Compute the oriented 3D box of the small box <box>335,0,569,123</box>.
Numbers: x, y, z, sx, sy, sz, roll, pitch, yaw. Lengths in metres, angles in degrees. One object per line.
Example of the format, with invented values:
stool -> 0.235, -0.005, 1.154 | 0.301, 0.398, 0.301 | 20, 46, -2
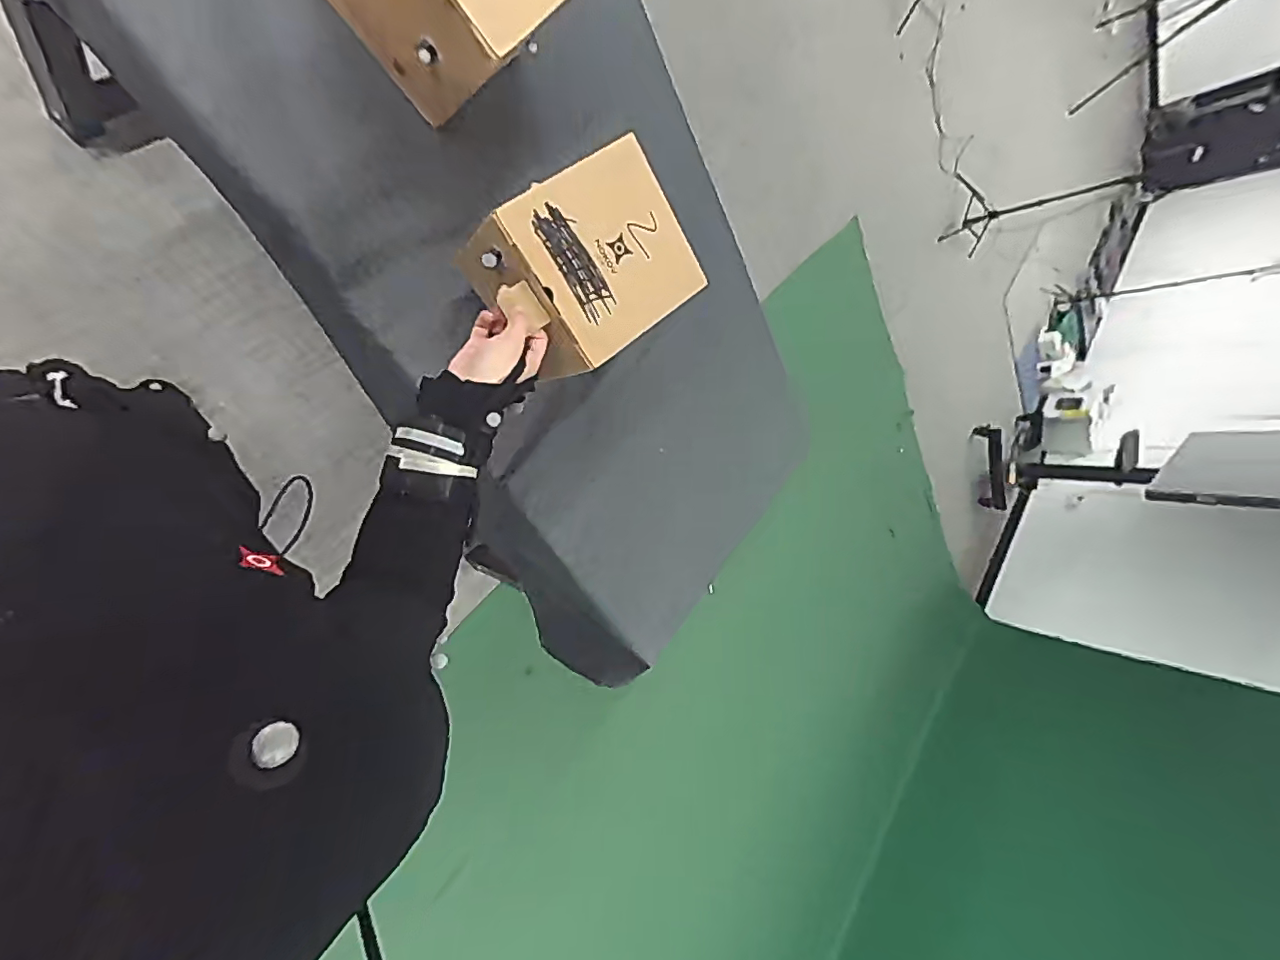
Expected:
small box -> -0.195, -0.516, 0.557 | 0.168, 0.176, 0.179 | 47, 64, -35
